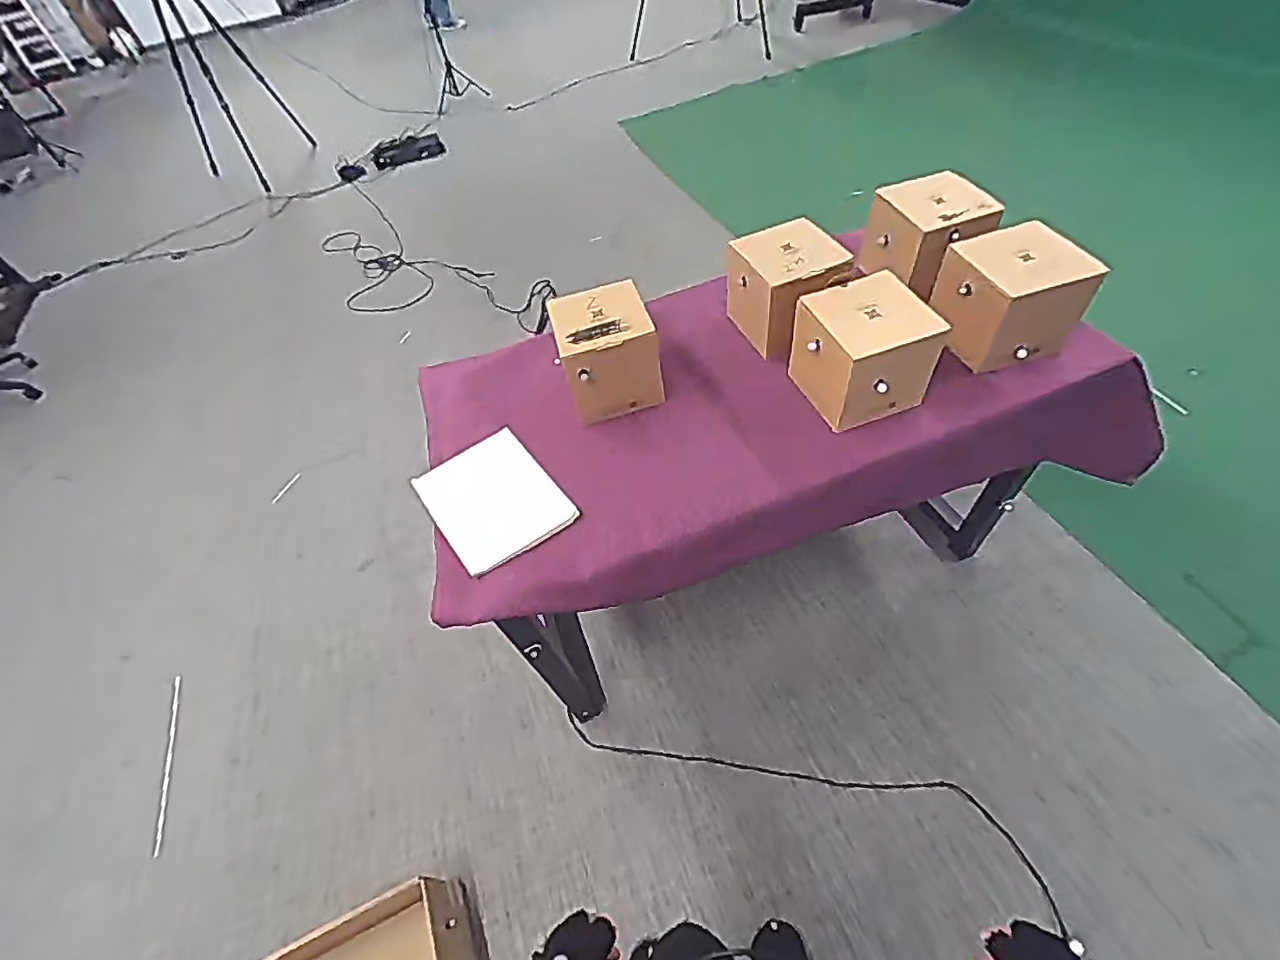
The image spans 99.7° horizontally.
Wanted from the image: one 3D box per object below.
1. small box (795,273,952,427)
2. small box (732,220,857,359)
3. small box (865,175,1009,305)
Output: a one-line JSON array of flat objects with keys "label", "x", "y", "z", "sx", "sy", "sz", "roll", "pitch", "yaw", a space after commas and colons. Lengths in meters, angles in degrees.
[{"label": "small box", "x": 0.380, "y": -0.211, "z": 0.916, "sx": 0.168, "sy": 0.176, "sz": 0.179, "roll": -18, "pitch": 53, "yaw": -4}, {"label": "small box", "x": 0.285, "y": -0.367, "z": 1.047, "sx": 0.168, "sy": 0.176, "sz": 0.179, "roll": -20, "pitch": 53, "yaw": -6}, {"label": "small box", "x": 0.577, "y": -0.474, "z": 1.084, "sx": 0.168, "sy": 0.176, "sz": 0.179, "roll": -17, "pitch": 52, "yaw": -3}]
